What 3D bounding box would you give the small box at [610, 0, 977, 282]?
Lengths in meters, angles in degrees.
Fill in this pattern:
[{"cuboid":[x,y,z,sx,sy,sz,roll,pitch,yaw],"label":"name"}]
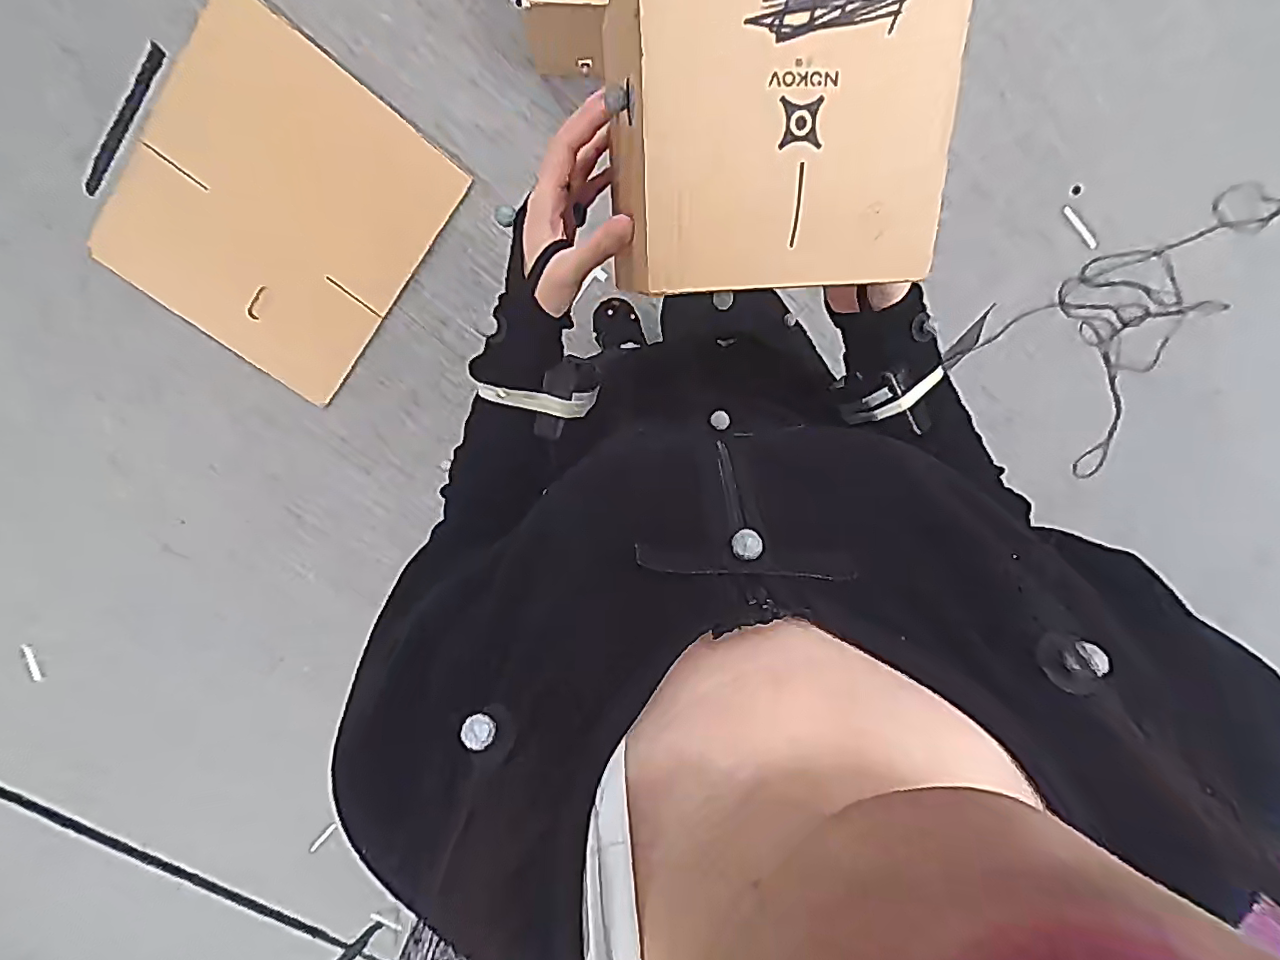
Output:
[{"cuboid":[0.072,-0.220,0.340,0.168,0.176,0.179,-5,111,-7],"label":"small box"}]
